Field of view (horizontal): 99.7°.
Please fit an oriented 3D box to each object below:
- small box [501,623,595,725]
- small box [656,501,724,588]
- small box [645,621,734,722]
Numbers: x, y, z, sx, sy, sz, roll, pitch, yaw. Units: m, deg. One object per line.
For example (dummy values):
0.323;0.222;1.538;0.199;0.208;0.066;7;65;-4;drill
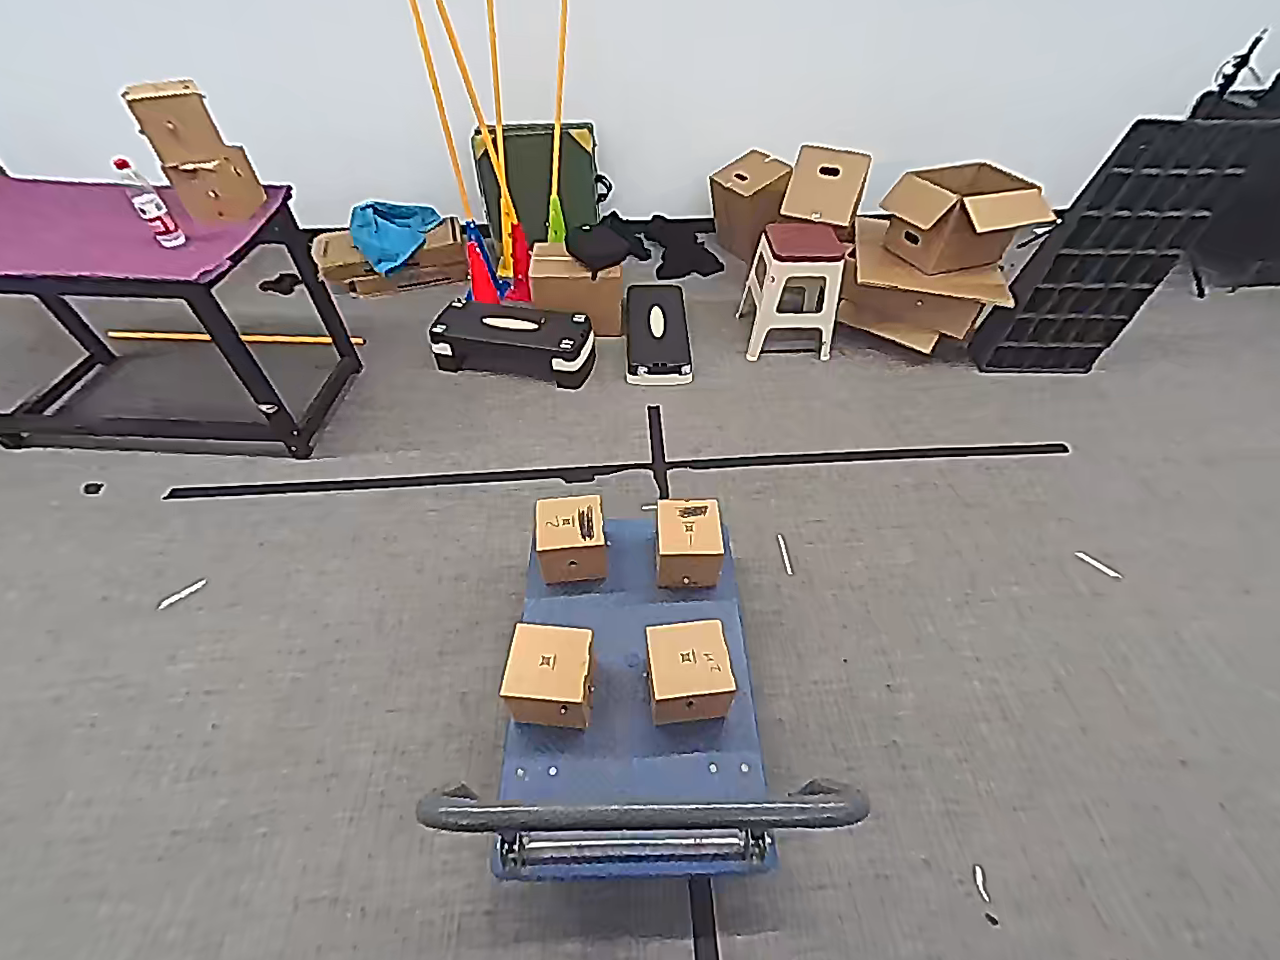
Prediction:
-0.201;0.448;1.238;0.179;0.176;0.168;5;49;1;small box
0.129;0.177;1.478;0.168;0.176;0.179;0;50;-1;small box
0.106;0.444;1.246;0.179;0.176;0.168;-4;49;-5;small box
